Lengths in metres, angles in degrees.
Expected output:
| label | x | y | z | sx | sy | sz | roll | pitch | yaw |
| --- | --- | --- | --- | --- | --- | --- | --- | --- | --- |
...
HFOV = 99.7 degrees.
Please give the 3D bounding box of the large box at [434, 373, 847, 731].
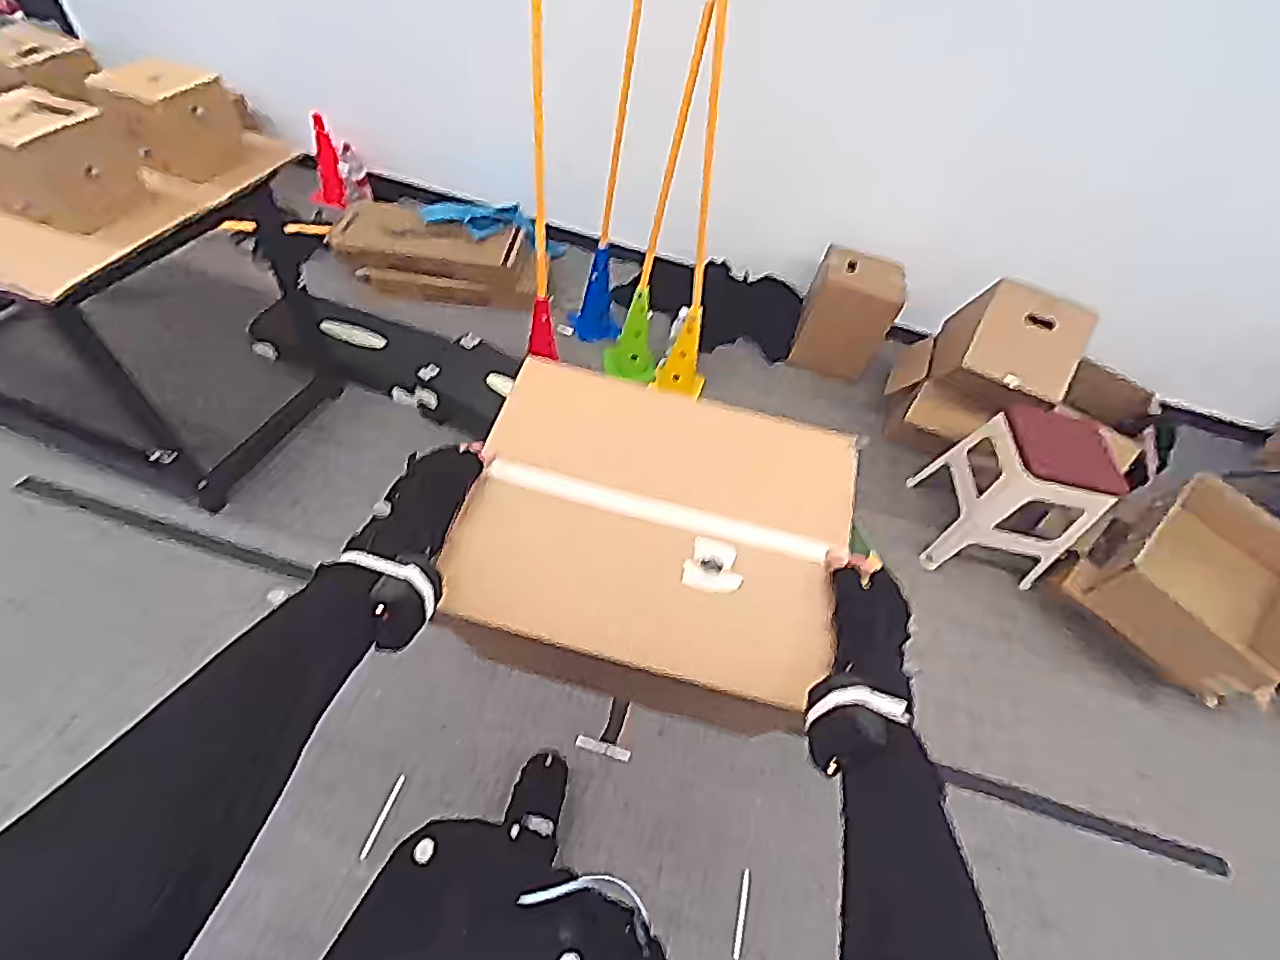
| label | x | y | z | sx | sy | sz | roll | pitch | yaw |
| --- | --- | --- | --- | --- | --- | --- | --- | --- | --- |
| large box | 0.009 | 0.112 | 0.722 | 0.408 | 0.320 | 0.320 | 15 | 63 | 3 |
